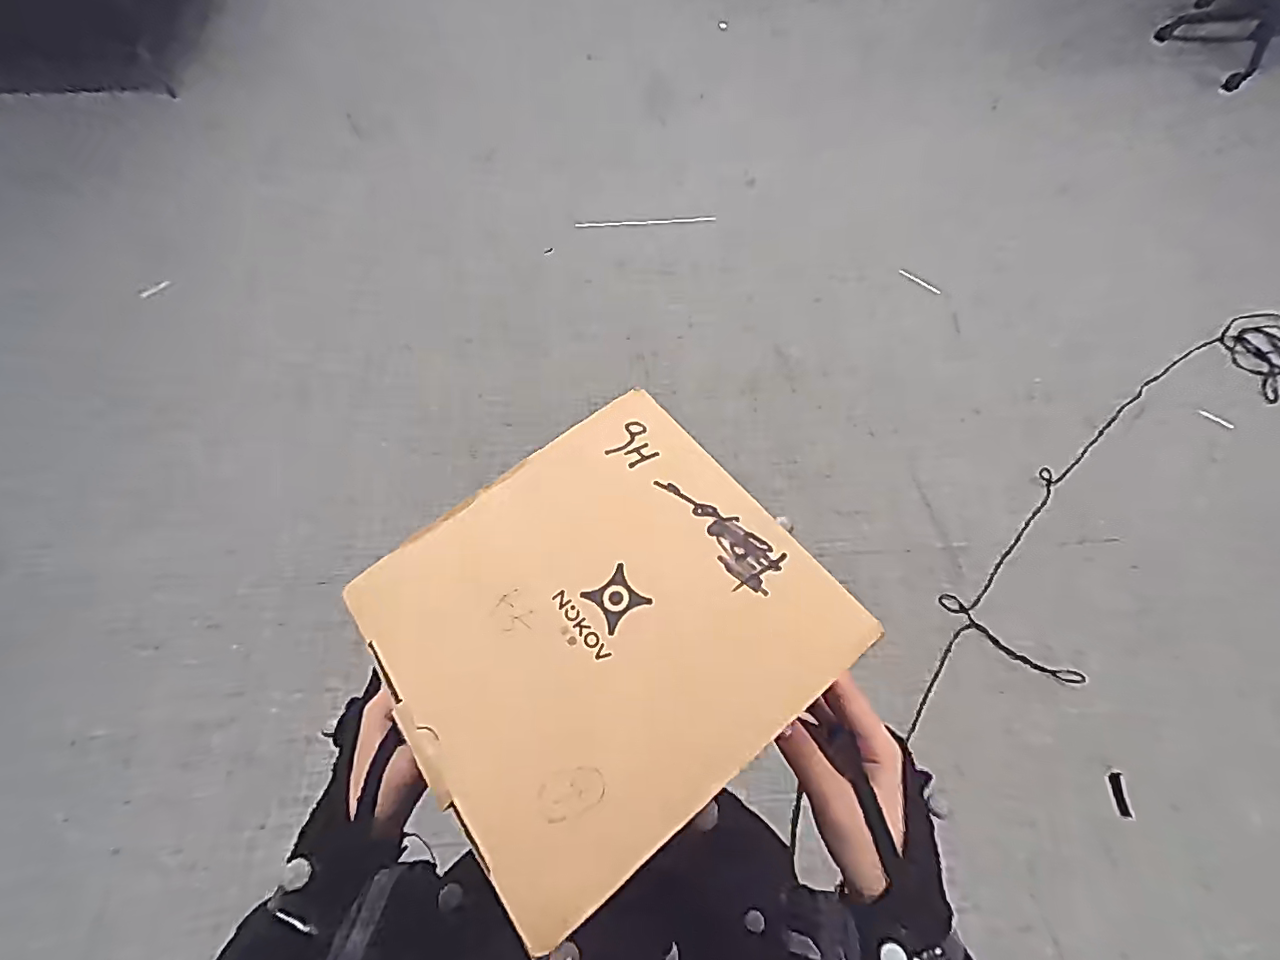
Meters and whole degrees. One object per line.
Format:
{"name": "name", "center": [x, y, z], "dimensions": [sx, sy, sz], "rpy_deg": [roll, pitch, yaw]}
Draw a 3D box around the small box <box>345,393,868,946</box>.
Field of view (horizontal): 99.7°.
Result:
{"name": "small box", "center": [-0.013, 0.093, 0.304], "dimensions": [0.179, 0.176, 0.168], "rpy_deg": [-36, 65, -14]}
